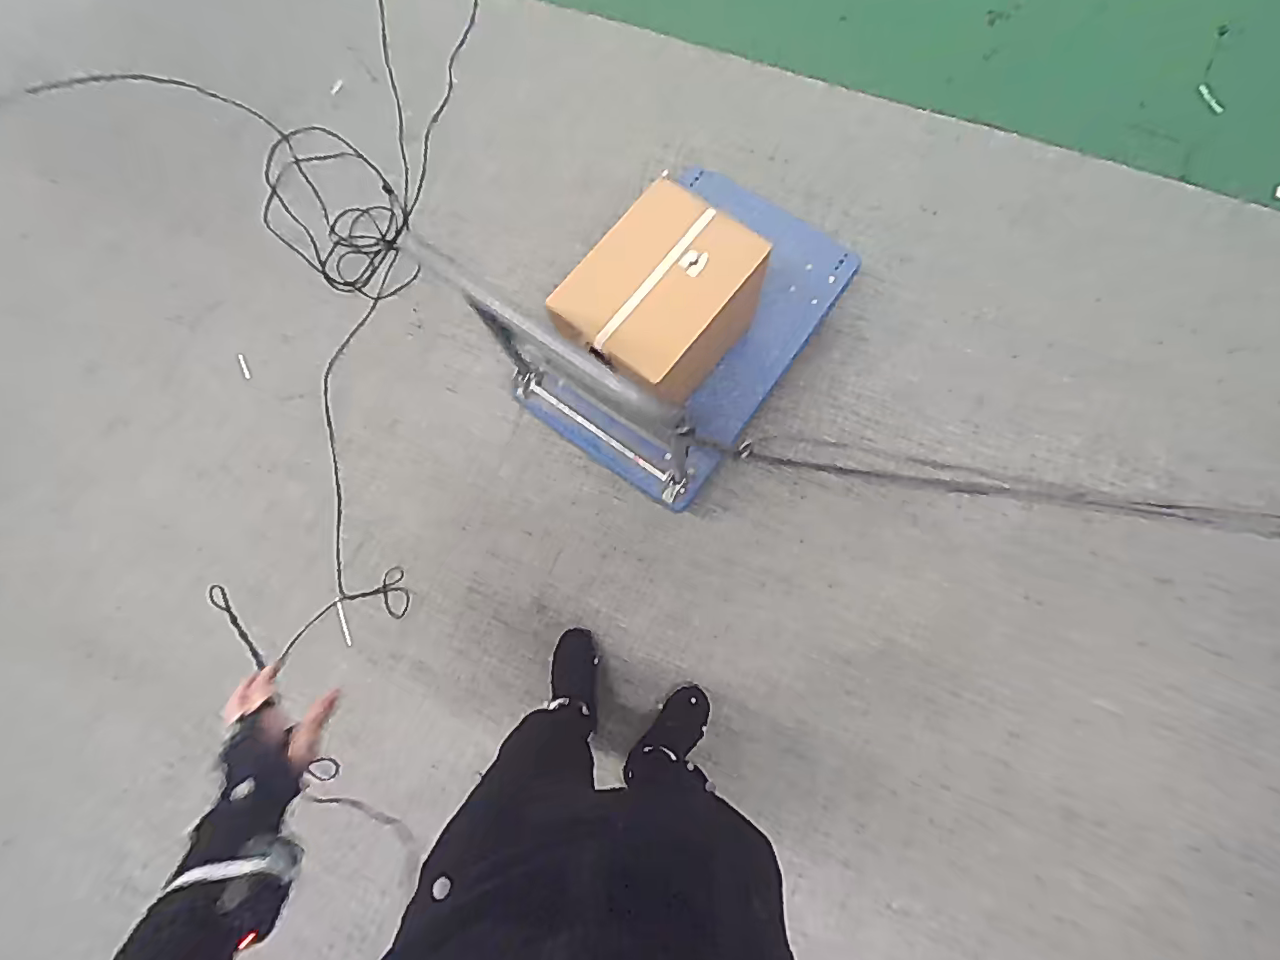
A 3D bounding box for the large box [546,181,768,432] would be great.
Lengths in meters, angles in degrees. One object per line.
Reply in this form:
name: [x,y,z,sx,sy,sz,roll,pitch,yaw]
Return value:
large box: [0.044,-0.391,1.289,0.320,0.320,0.408,38,81,10]
